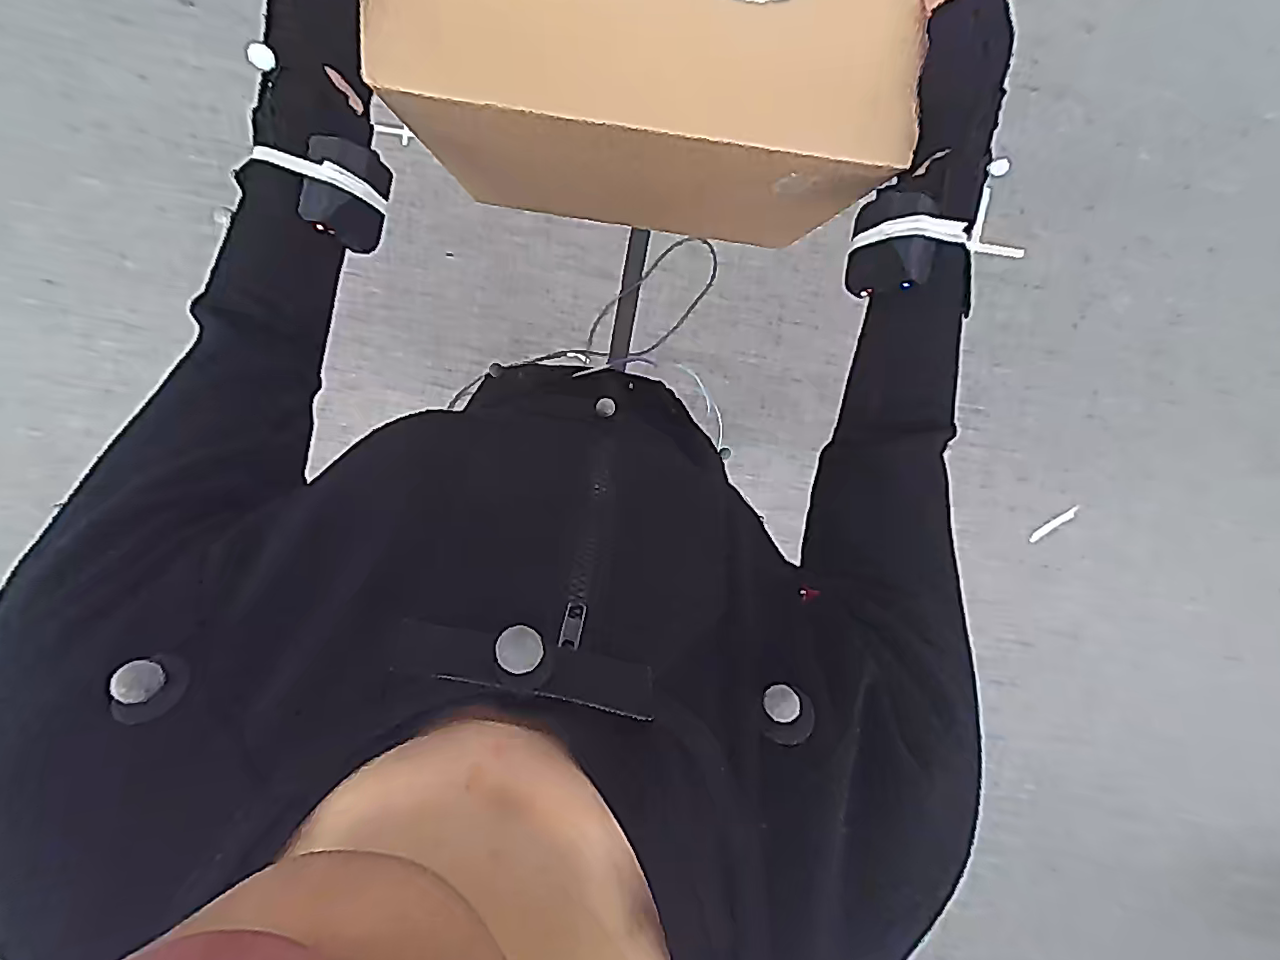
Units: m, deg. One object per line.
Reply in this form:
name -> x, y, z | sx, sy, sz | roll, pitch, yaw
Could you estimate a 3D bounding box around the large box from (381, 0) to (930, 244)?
large box -> 0.014, -0.444, 0.522 | 0.408, 0.320, 0.320 | 6, 103, -4
